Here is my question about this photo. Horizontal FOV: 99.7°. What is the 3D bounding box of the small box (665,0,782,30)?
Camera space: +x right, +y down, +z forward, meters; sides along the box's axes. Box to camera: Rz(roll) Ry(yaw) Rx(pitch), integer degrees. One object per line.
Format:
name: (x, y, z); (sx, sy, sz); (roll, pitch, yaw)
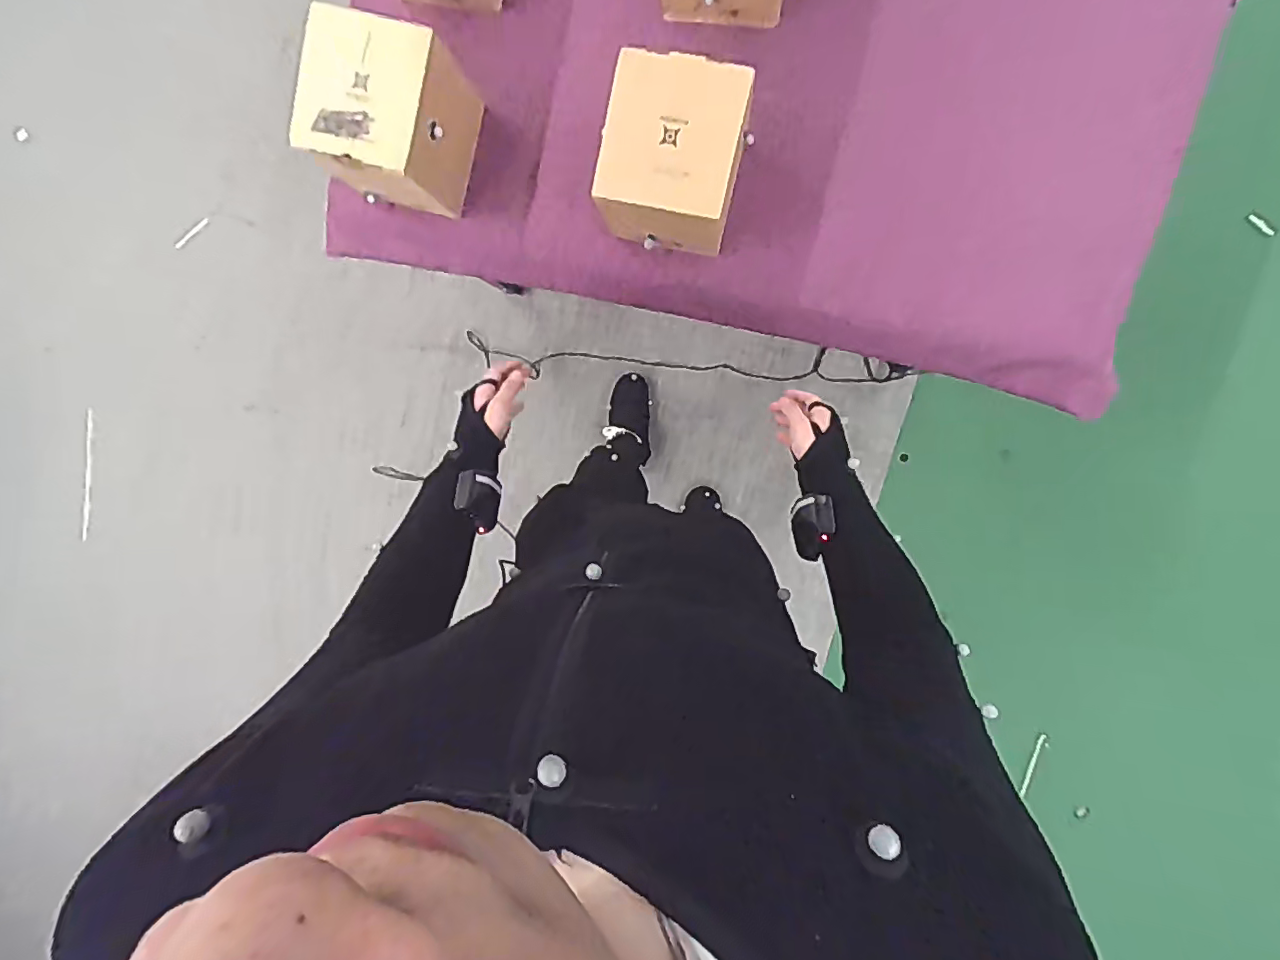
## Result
small box: (0.118, -0.724, 0.680); (0.168, 0.176, 0.179); (9, 100, 4)

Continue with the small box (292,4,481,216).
small box: (-0.343, -0.499, 0.760); (0.168, 0.176, 0.179); (16, 98, 3)

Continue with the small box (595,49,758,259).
small box: (0.049, -0.424, 0.731); (0.168, 0.176, 0.179); (14, 99, 5)

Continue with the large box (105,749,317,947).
large box: (-1.409, 1.205, 1.806); (0.408, 0.320, 0.320); (37, 101, -1)
